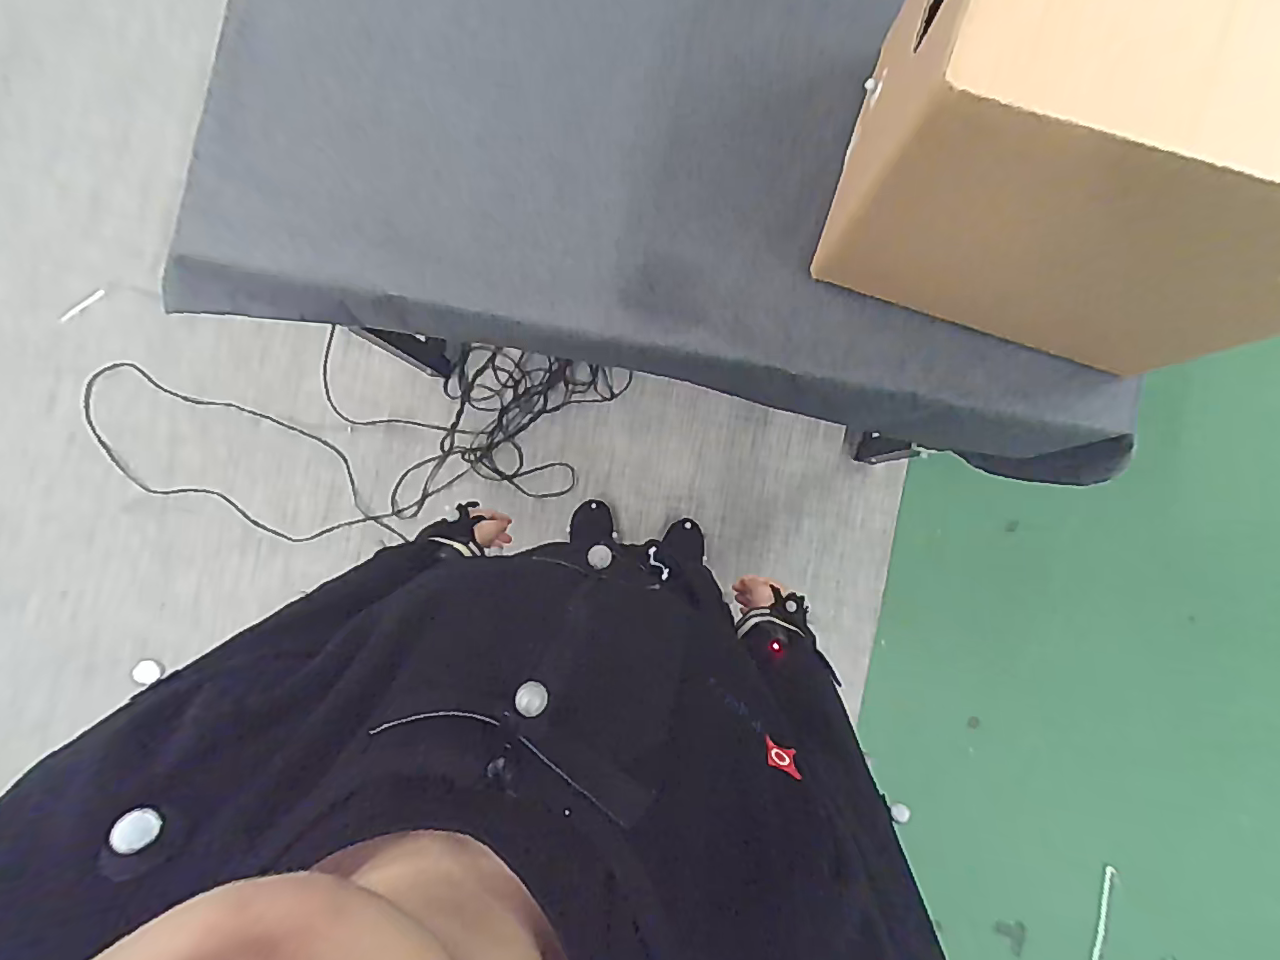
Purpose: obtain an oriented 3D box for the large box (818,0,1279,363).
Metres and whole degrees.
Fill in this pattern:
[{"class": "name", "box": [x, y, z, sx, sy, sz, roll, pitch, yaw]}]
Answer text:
[{"class": "large box", "box": [0.443, -0.346, 0.512, 0.408, 0.320, 0.320, 18, 88, 1]}]
